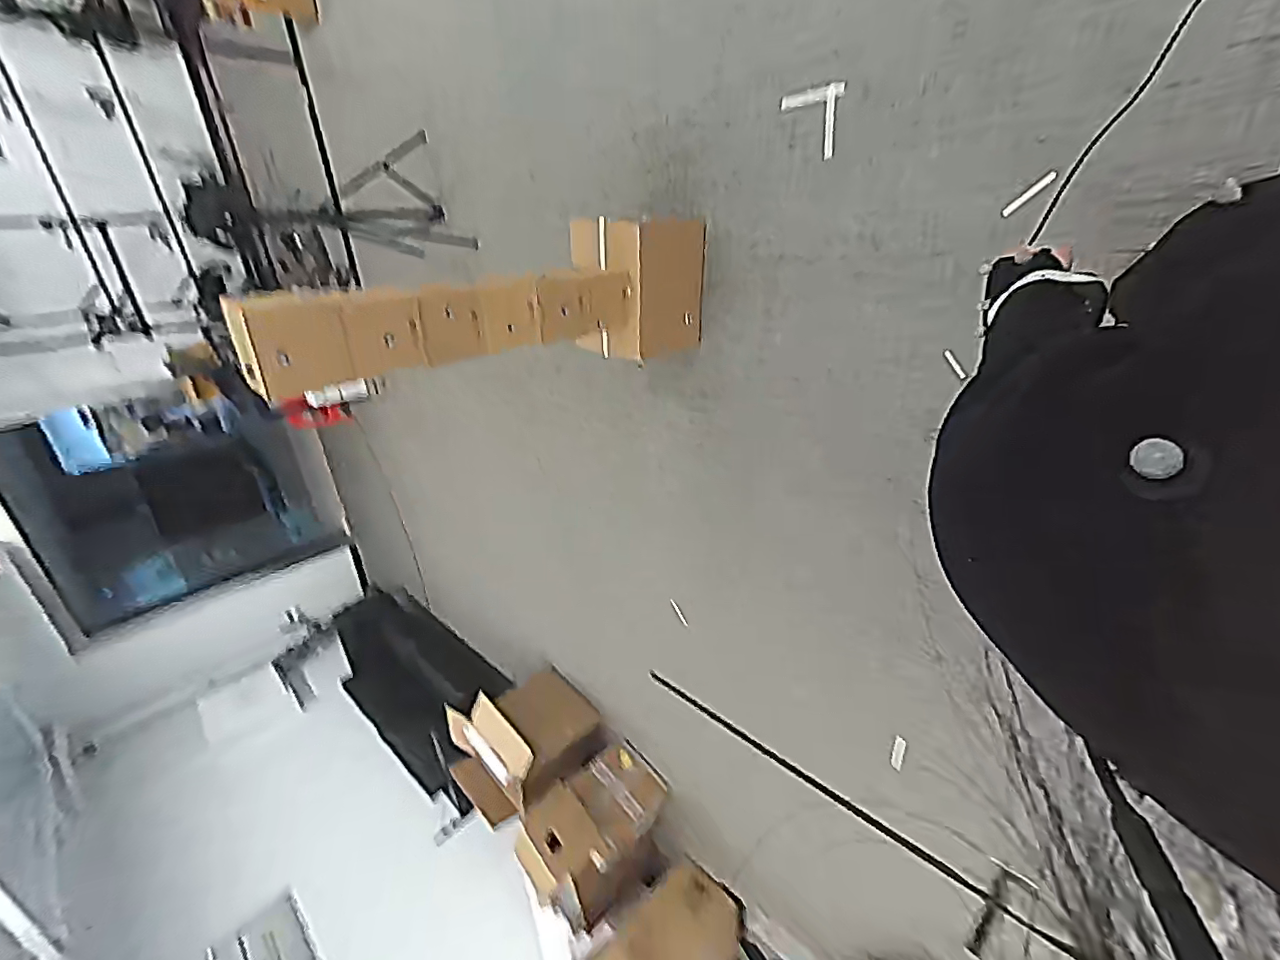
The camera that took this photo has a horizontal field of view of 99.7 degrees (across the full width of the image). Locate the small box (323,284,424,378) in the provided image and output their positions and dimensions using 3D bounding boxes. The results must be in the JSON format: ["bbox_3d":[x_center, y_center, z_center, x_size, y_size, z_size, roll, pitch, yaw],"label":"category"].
[{"bbox_3d":[-0.606,-0.346,1.225,0.179,0.176,0.168,26,127,38],"label":"small box"}]

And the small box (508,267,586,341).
[{"bbox_3d":[-0.266,-0.507,1.539,0.179,0.176,0.168,25,127,37],"label":"small box"}]

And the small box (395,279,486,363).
[{"bbox_3d":[-0.495,-0.398,1.335,0.179,0.176,0.168,24,126,41],"label":"small box"}]

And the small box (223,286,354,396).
[{"bbox_3d":[-0.717,-0.292,1.116,0.168,0.176,0.179,25,126,38],"label":"small box"}]

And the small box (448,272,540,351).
[{"bbox_3d":[-0.378,-0.453,1.433,0.179,0.176,0.168,24,127,39],"label":"small box"}]
